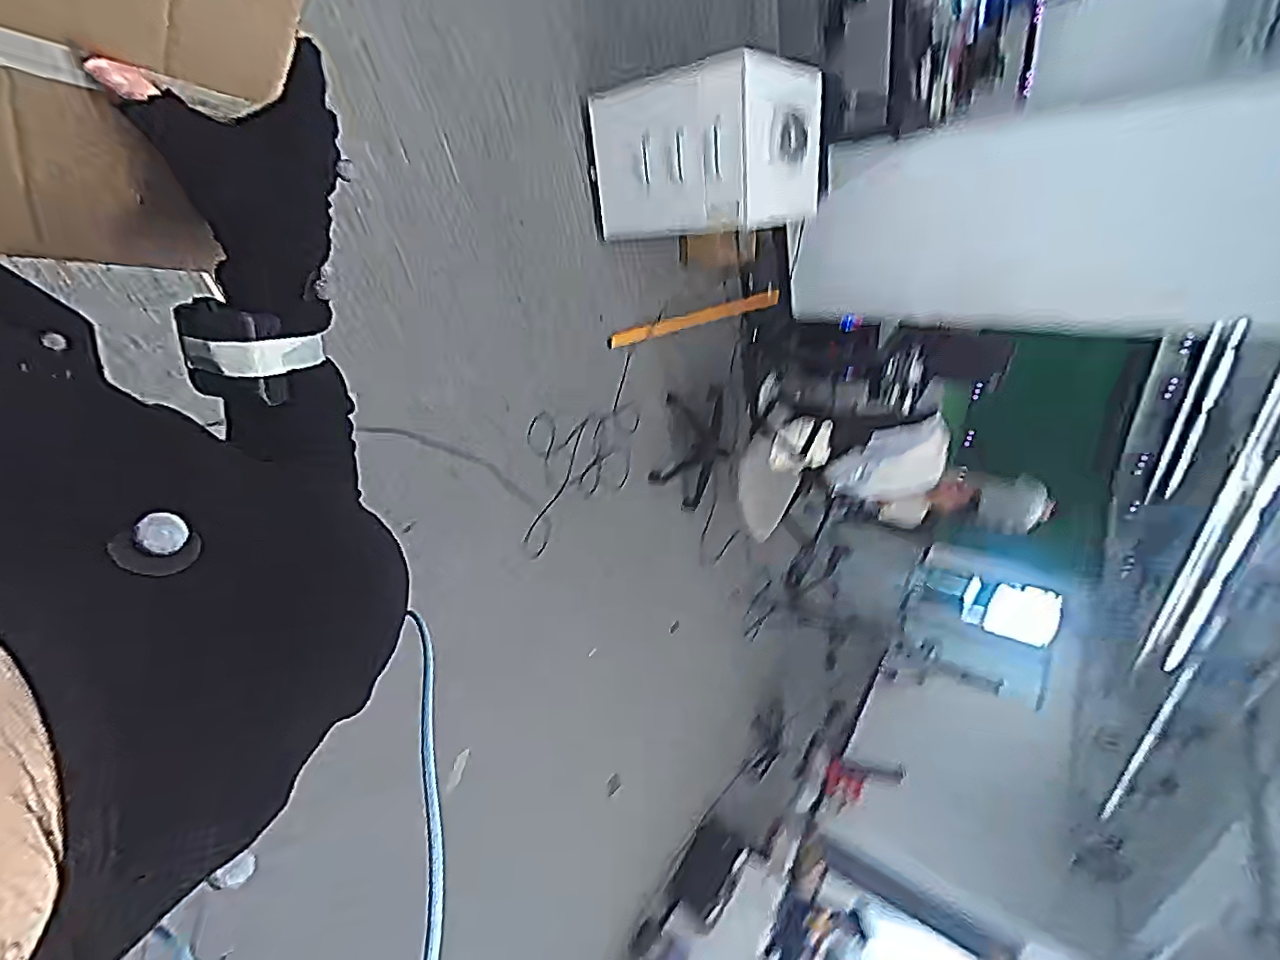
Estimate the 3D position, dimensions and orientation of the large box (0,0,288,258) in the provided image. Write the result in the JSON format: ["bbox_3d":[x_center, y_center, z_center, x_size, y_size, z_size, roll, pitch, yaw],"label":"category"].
[{"bbox_3d":[-0.398,-0.313,0.172,0.408,0.320,0.320,-17,85,-47],"label":"large box"}]
